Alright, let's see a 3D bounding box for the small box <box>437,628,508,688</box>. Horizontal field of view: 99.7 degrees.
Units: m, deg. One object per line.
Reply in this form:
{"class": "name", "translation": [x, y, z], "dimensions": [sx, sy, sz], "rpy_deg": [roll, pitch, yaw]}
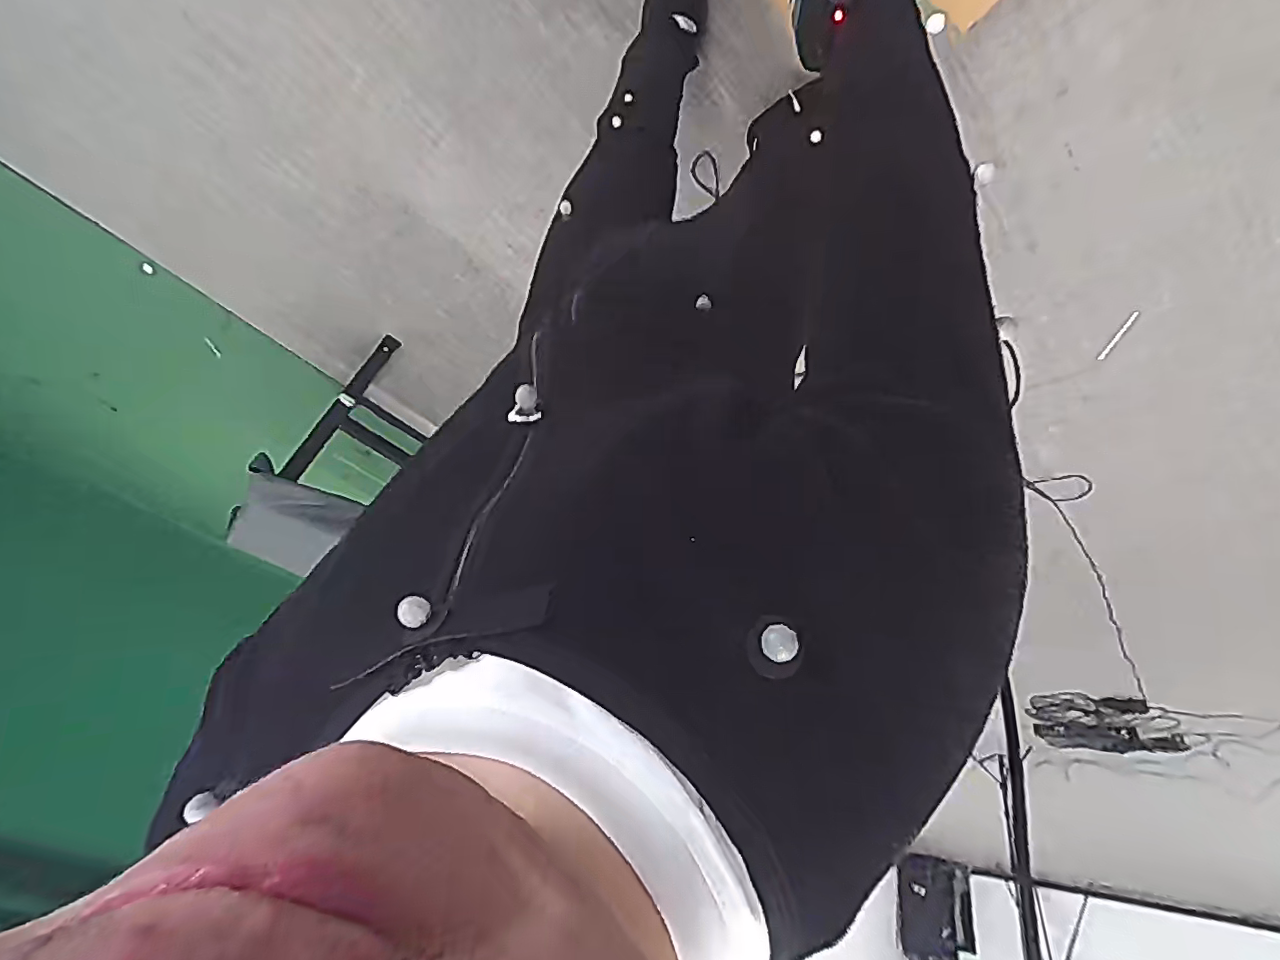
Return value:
{"class": "small box", "translation": [-0.622, 0.670, 2.035], "dimensions": [0.179, 0.176, 0.168], "rpy_deg": [-20, 129, 43]}
